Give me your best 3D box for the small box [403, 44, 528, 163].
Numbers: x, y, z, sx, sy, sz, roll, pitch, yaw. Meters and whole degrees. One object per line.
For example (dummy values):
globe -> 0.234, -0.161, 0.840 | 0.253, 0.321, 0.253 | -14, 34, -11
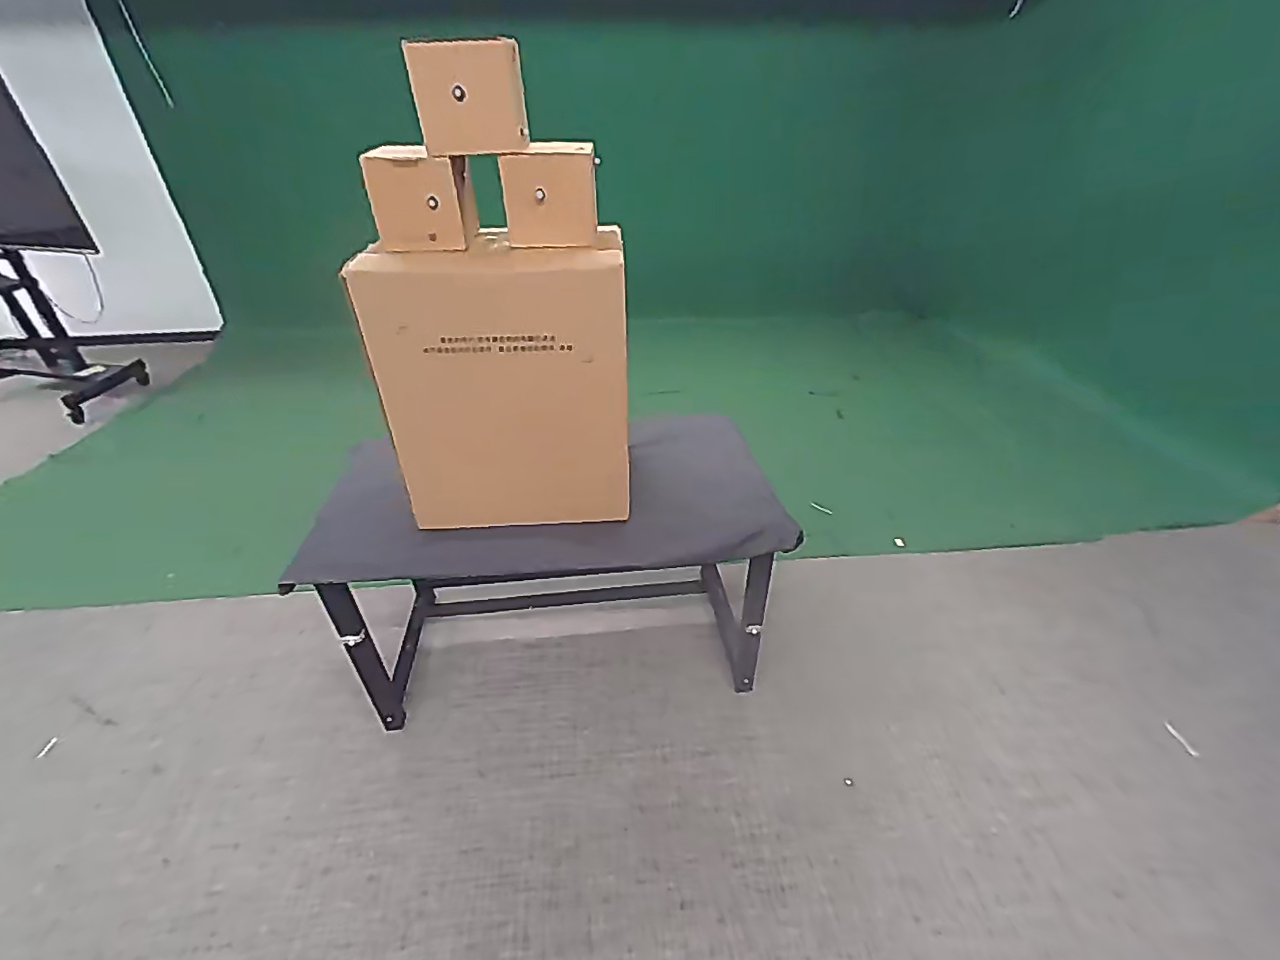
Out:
small box -> -0.312, -0.707, 1.015 | 0.179, 0.176, 0.168 | -4, 37, -2

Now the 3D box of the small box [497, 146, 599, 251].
small box -> -0.181, -0.583, 1.120 | 0.179, 0.176, 0.168 | -3, 38, -1

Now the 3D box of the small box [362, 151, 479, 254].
small box -> -0.437, -0.569, 1.109 | 0.168, 0.176, 0.179 | -2, 36, -4
